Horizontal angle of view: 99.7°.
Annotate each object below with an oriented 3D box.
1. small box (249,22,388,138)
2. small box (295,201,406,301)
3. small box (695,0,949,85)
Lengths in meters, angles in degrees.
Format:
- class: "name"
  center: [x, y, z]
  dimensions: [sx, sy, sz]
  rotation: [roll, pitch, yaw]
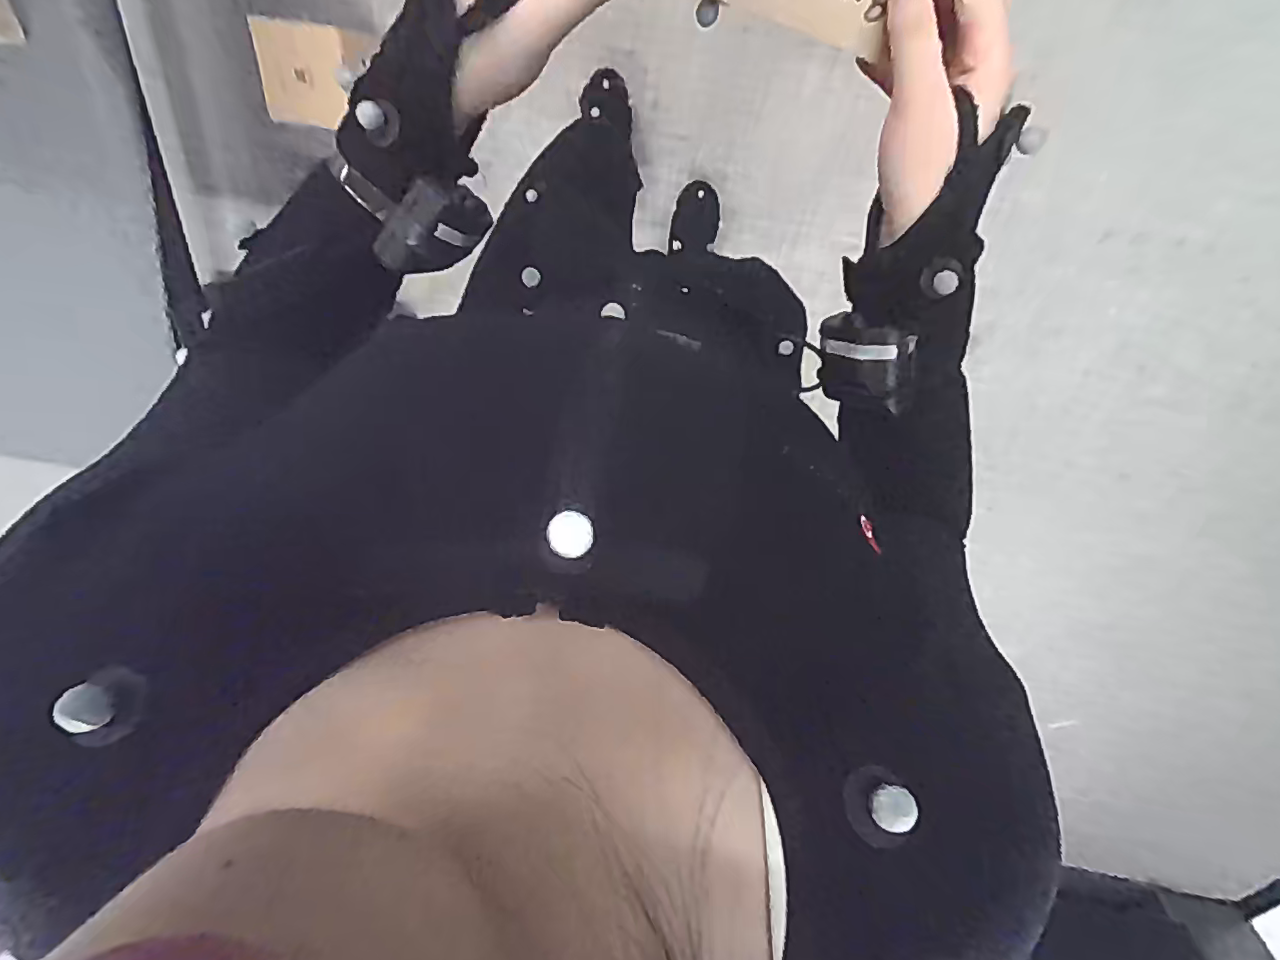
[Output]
- class: "small box"
  center: [-0.639, -0.811, 1.107]
  dimensions: [0.179, 0.176, 0.168]
  rotation: [9, 123, 2]
- class: "small box"
  center: [-0.674, -0.550, 1.286]
  dimensions: [0.179, 0.176, 0.168]
  rotation: [14, 124, -2]
- class: "small box"
  center: [0.093, -0.345, 0.264]
  dimensions: [0.168, 0.176, 0.179]
  rotation: [13, 141, -11]
